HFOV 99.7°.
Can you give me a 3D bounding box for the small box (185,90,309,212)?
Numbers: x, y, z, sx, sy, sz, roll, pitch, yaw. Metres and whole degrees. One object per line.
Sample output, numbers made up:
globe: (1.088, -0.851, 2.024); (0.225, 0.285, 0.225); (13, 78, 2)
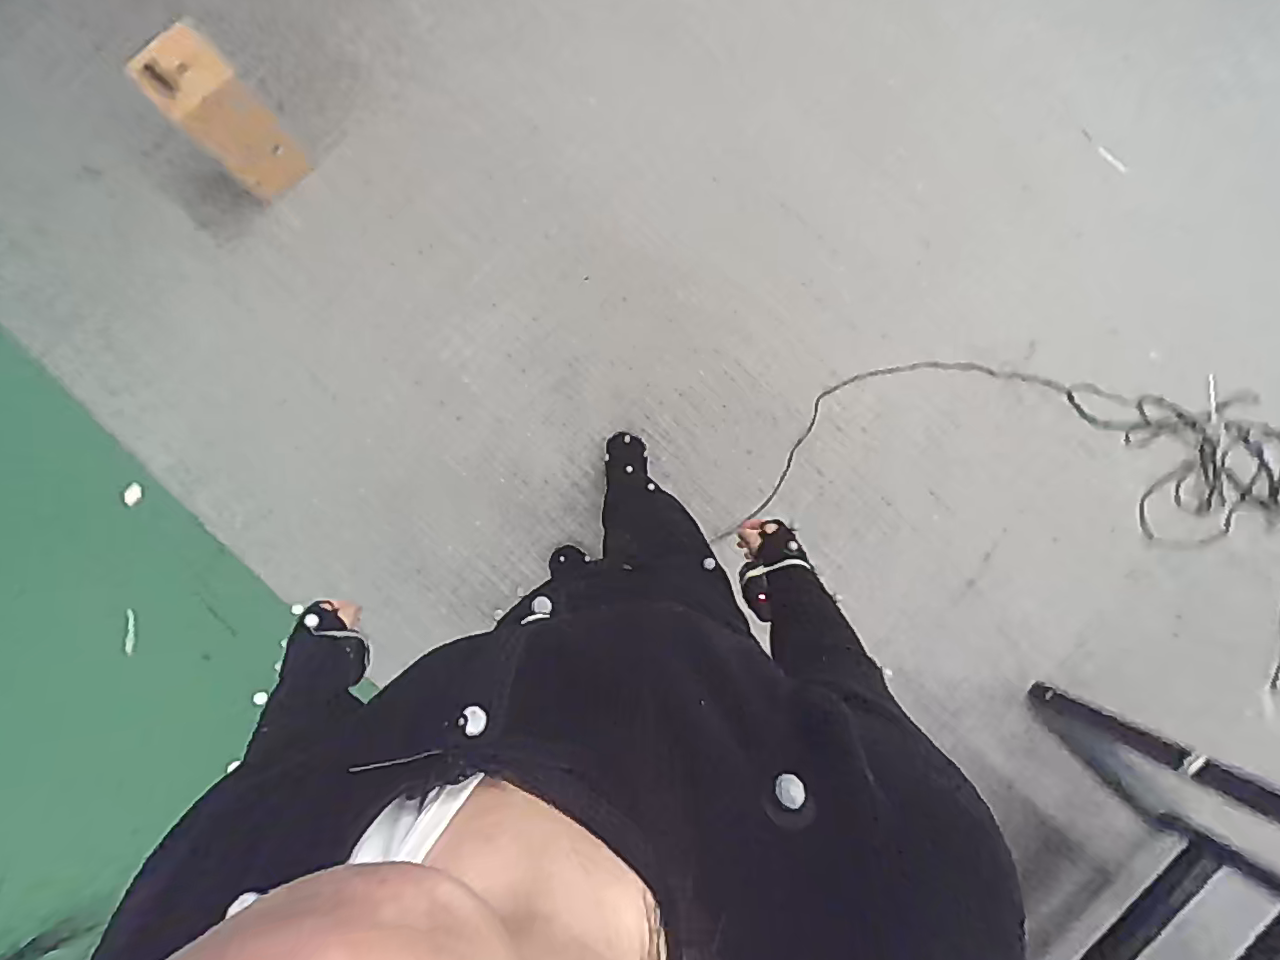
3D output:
small box: (-1.013, -0.855, 1.420); (0.179, 0.176, 0.168); (-42, 90, -2)
